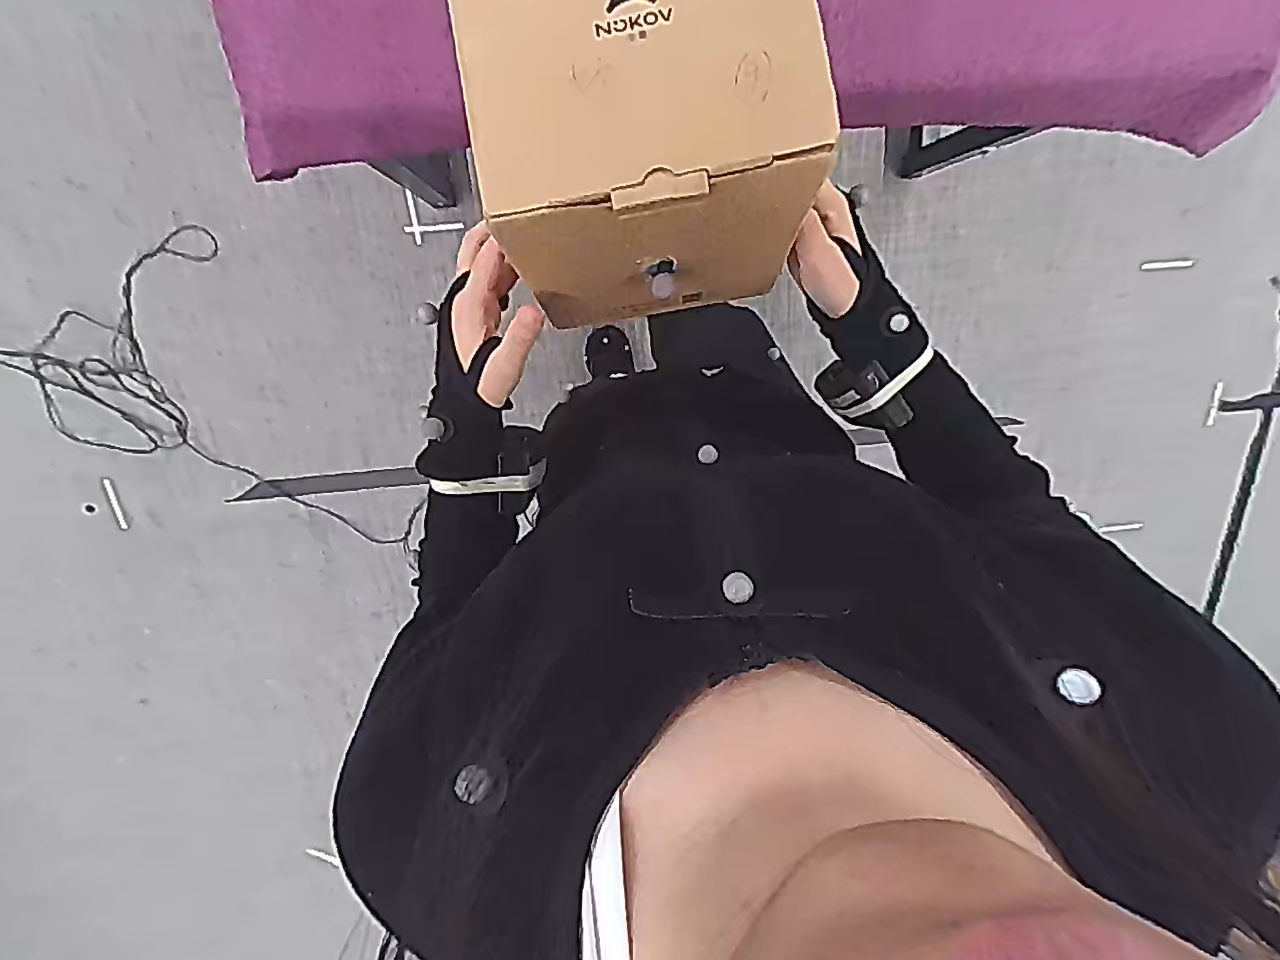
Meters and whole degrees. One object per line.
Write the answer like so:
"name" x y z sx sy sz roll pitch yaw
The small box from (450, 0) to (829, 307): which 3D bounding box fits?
"small box" -0.001 -0.218 0.328 0.168 0.176 0.179 -9 88 3
